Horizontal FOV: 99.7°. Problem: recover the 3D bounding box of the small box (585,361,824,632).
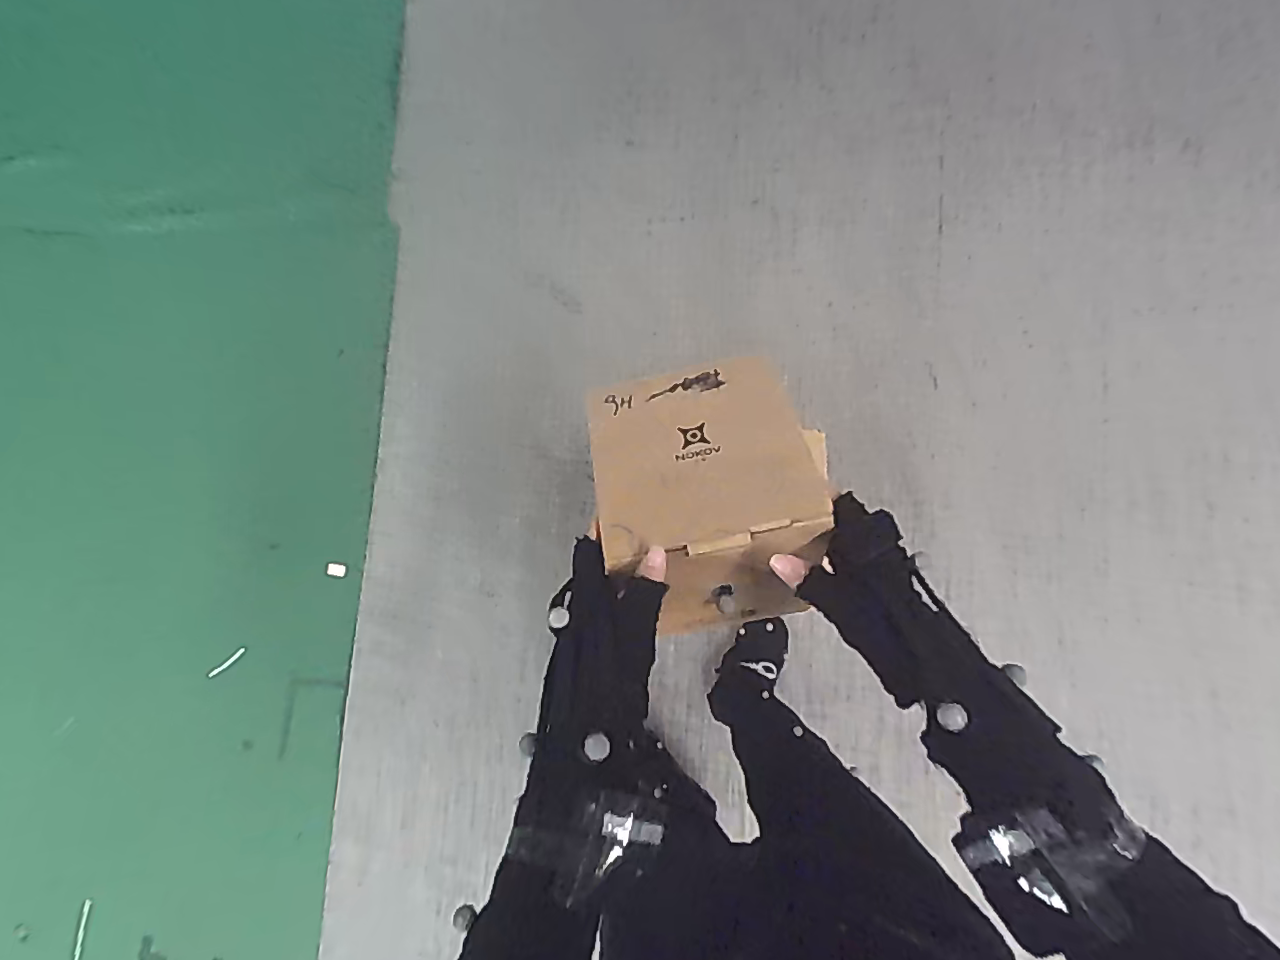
[{"bbox_3d":[0.055,0.026,0.494,0.168,0.176,0.179,-12,54,4],"label":"small box"}]
